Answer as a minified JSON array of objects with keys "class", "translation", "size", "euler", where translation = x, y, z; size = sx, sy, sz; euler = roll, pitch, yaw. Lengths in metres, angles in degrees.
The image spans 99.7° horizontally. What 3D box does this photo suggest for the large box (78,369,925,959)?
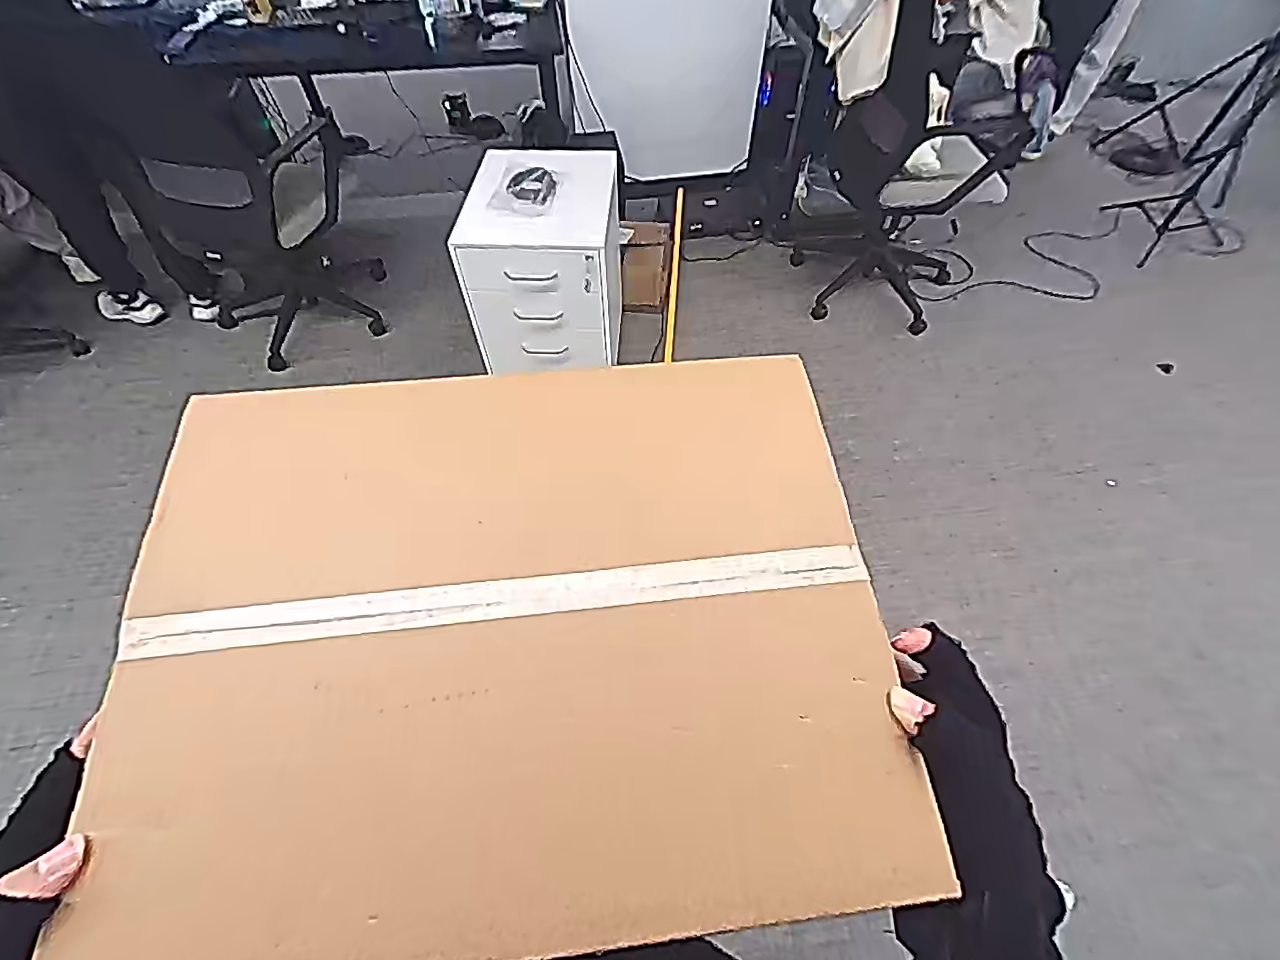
[{"class":"large box","translation":[-0.076,0.138,0.449],"size":[0.408,0.320,0.320],"euler":[-5,65,-4]}]
